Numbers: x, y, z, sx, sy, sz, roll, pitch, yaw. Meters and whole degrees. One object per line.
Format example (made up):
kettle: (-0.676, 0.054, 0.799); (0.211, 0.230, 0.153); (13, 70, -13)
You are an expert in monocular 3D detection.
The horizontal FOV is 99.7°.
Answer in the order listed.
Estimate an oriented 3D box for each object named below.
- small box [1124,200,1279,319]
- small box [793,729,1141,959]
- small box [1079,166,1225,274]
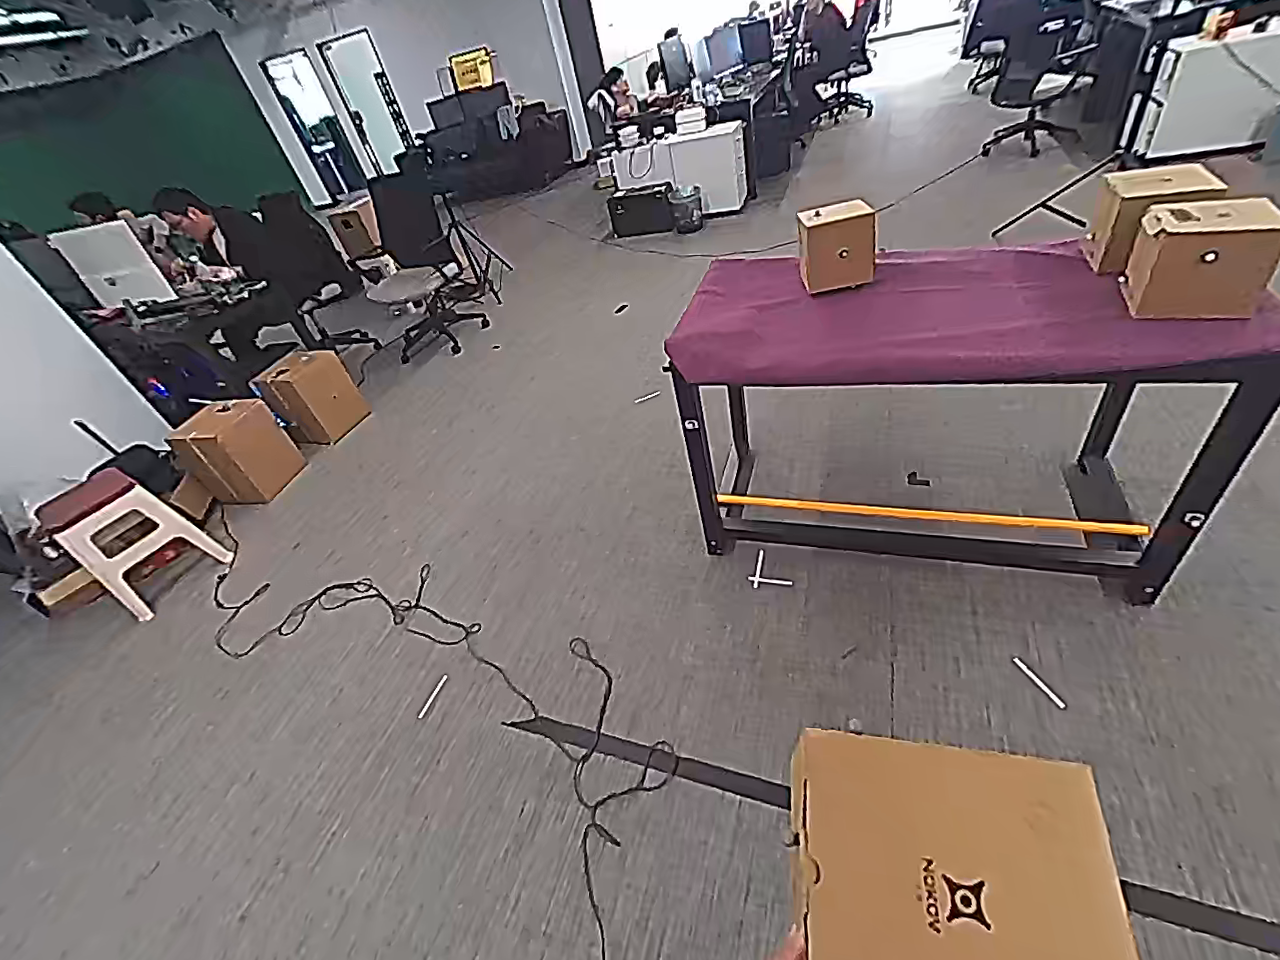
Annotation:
small box: (1.088, -0.427, 1.059); (0.179, 0.176, 0.168); (8, 44, 26)
small box: (0.203, 0.286, 0.383); (0.179, 0.176, 0.168); (0, 58, 14)
small box: (1.143, -0.585, 1.225); (0.179, 0.176, 0.168); (4, 44, 22)
